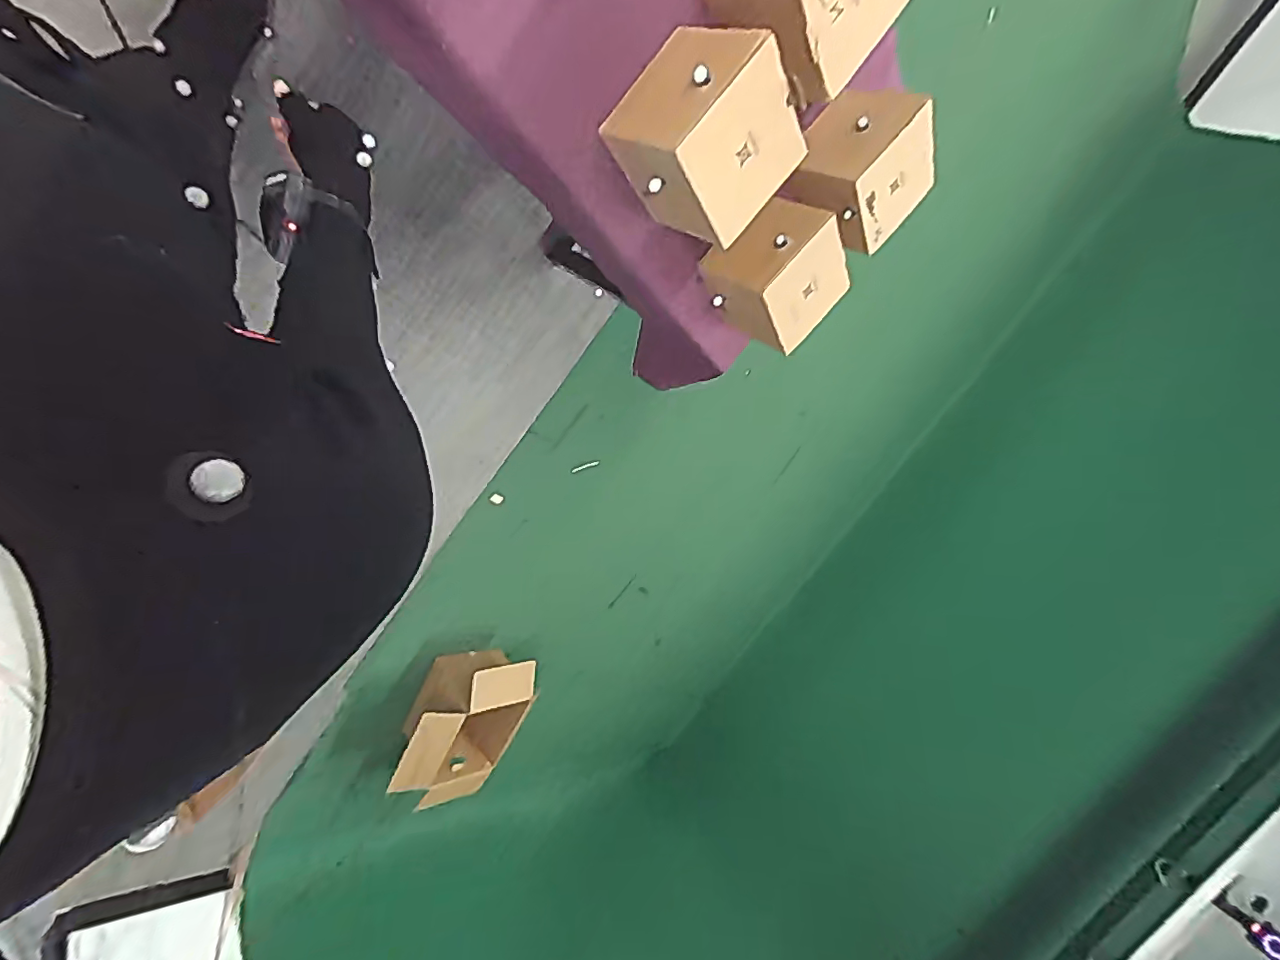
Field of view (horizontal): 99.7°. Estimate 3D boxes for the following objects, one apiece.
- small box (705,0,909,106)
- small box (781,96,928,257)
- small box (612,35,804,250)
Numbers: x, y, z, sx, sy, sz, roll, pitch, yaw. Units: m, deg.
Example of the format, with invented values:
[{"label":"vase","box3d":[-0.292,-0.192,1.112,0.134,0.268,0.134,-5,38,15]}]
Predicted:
[{"label":"small box","box3d":[0.214,-0.636,0.700,0.179,0.176,0.168,-51,143,4]},{"label":"small box","box3d":[0.374,-0.535,0.950,0.179,0.176,0.168,-49,143,0]},{"label":"small box","box3d":[0.085,-0.456,0.735,0.179,0.176,0.168,-49,143,3]}]
